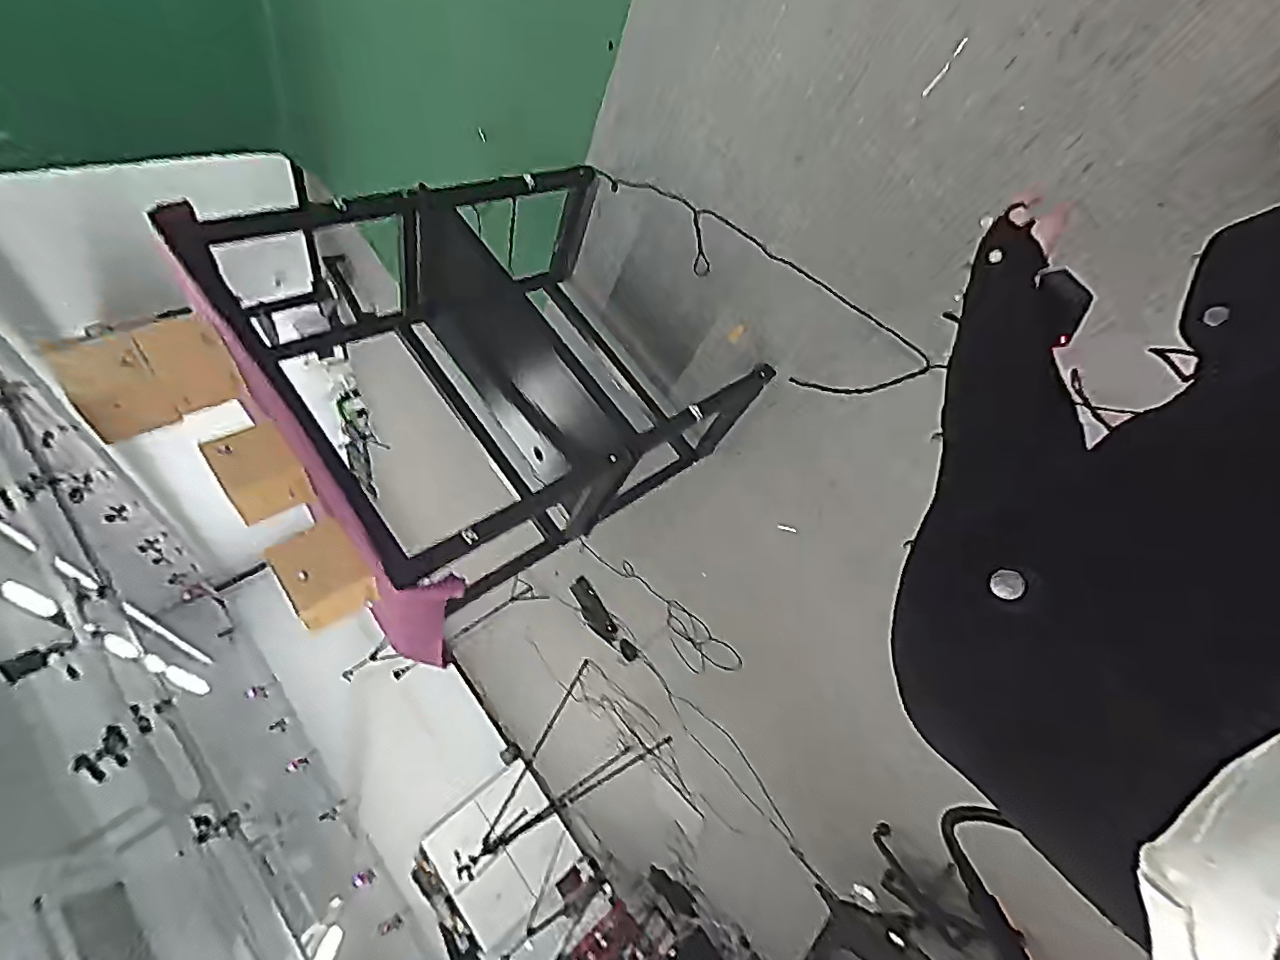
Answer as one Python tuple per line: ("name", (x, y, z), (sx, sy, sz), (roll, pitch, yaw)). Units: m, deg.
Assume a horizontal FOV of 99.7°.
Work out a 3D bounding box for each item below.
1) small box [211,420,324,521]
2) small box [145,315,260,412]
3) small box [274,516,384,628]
("small box", (-0.935, -0.032, 1.372), (0.179, 0.176, 0.168), (52, 147, 11))
("small box", (-1.161, -0.319, 1.448), (0.179, 0.176, 0.168), (52, 148, 12))
("small box", (-0.730, 0.217, 1.293), (0.179, 0.176, 0.168), (51, 146, 15))
